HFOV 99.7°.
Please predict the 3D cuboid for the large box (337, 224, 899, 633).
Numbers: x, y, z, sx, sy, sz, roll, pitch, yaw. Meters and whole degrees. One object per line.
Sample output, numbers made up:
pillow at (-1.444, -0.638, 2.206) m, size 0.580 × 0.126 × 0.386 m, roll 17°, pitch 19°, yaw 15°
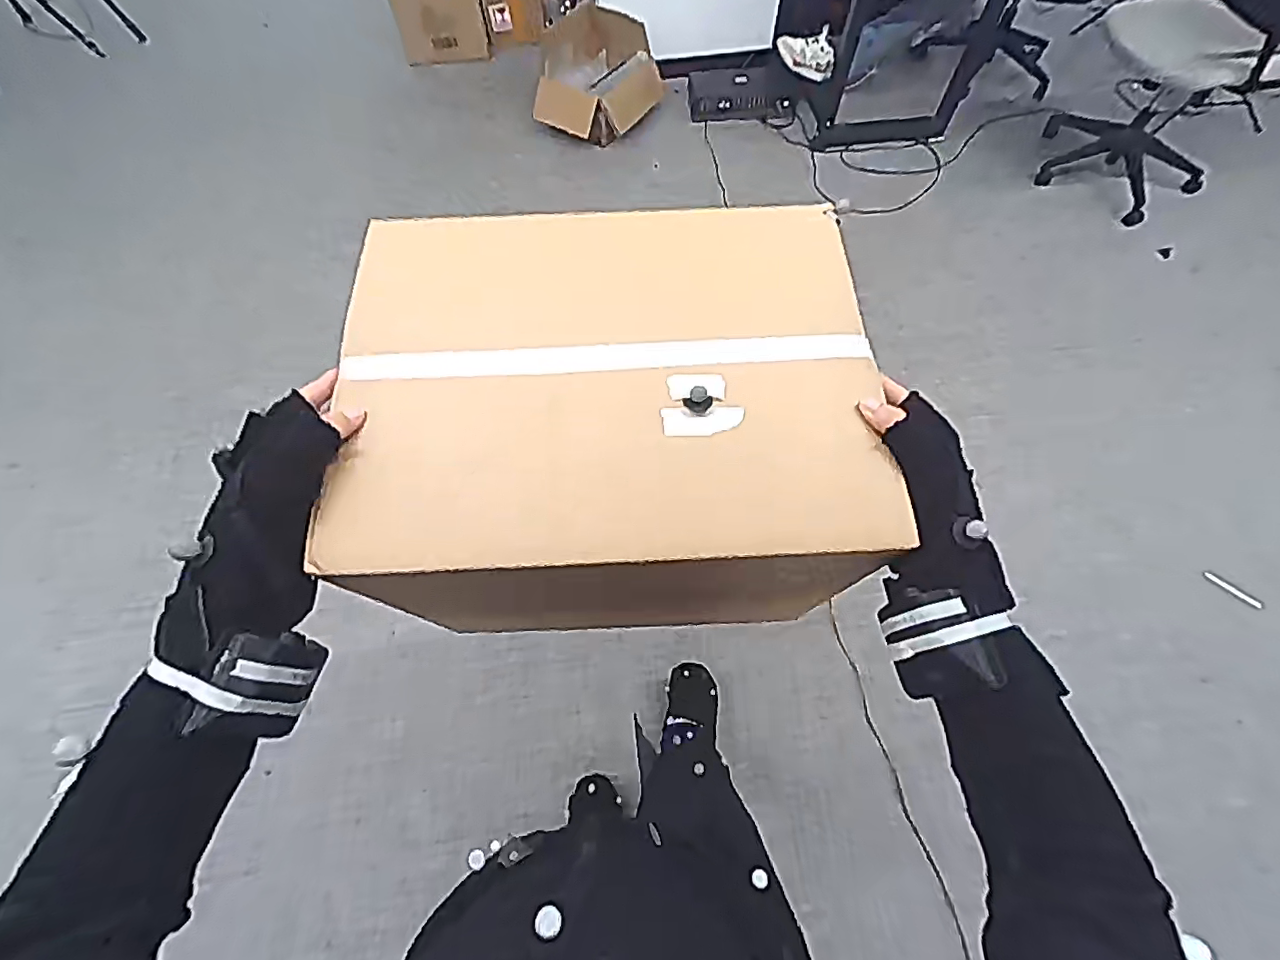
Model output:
large box at (-0.022, -0.028, 0.571) m, size 0.408 × 0.320 × 0.320 m, roll -2°, pitch 67°, yaw -1°
